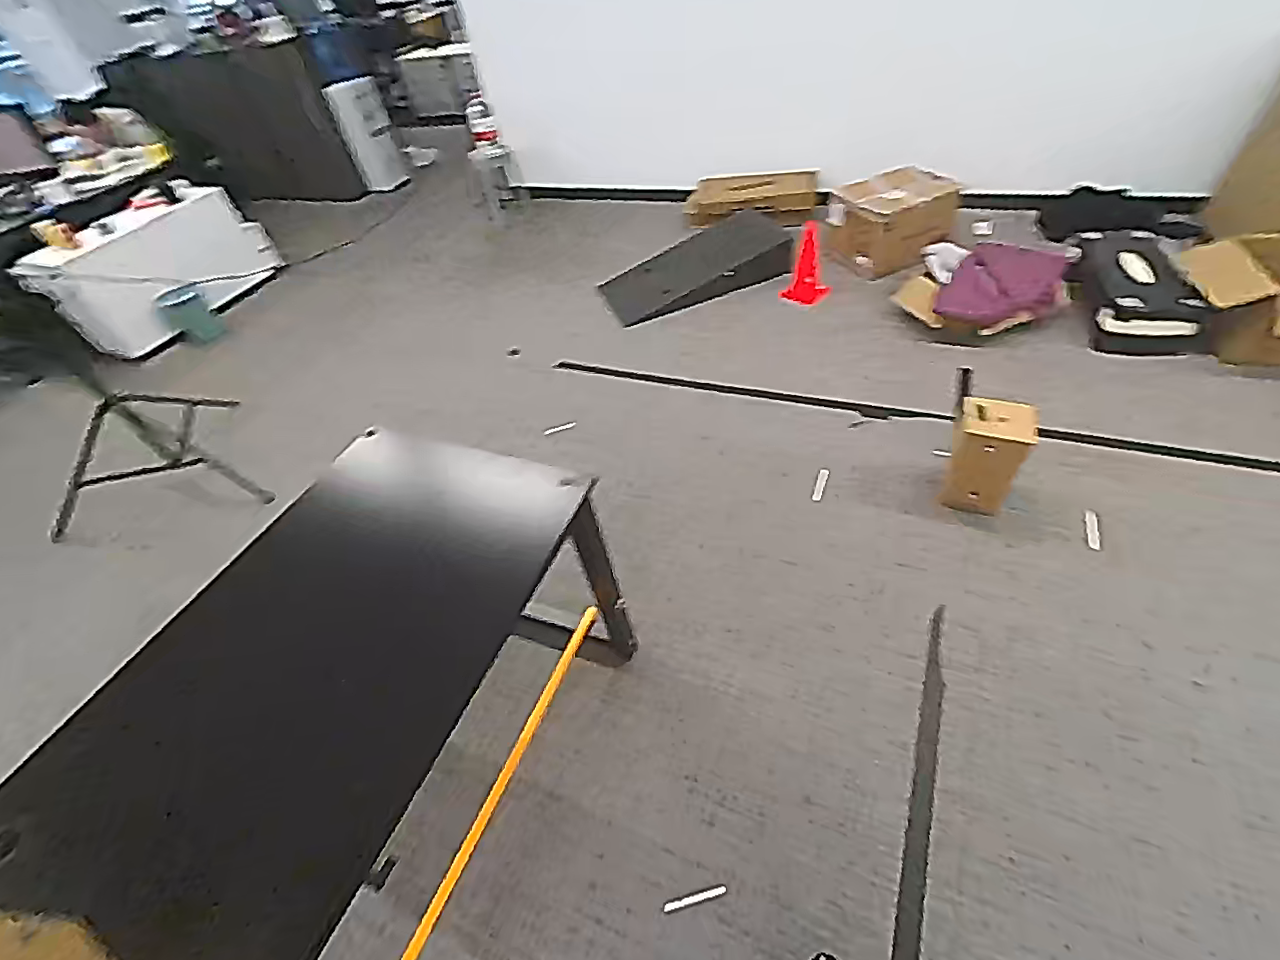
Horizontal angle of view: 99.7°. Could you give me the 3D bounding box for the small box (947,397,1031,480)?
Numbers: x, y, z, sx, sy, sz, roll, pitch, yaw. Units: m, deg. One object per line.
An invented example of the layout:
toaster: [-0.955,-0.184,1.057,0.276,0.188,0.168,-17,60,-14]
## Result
small box: [1.040,-0.122,1.623,0.179,0.176,0.168,13,52,20]

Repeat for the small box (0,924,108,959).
small box: [-0.661,0.574,0.528,0.179,0.176,0.168,15,53,22]

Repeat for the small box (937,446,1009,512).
small box: [1.077,-0.021,1.750,0.168,0.176,0.179,14,53,22]
